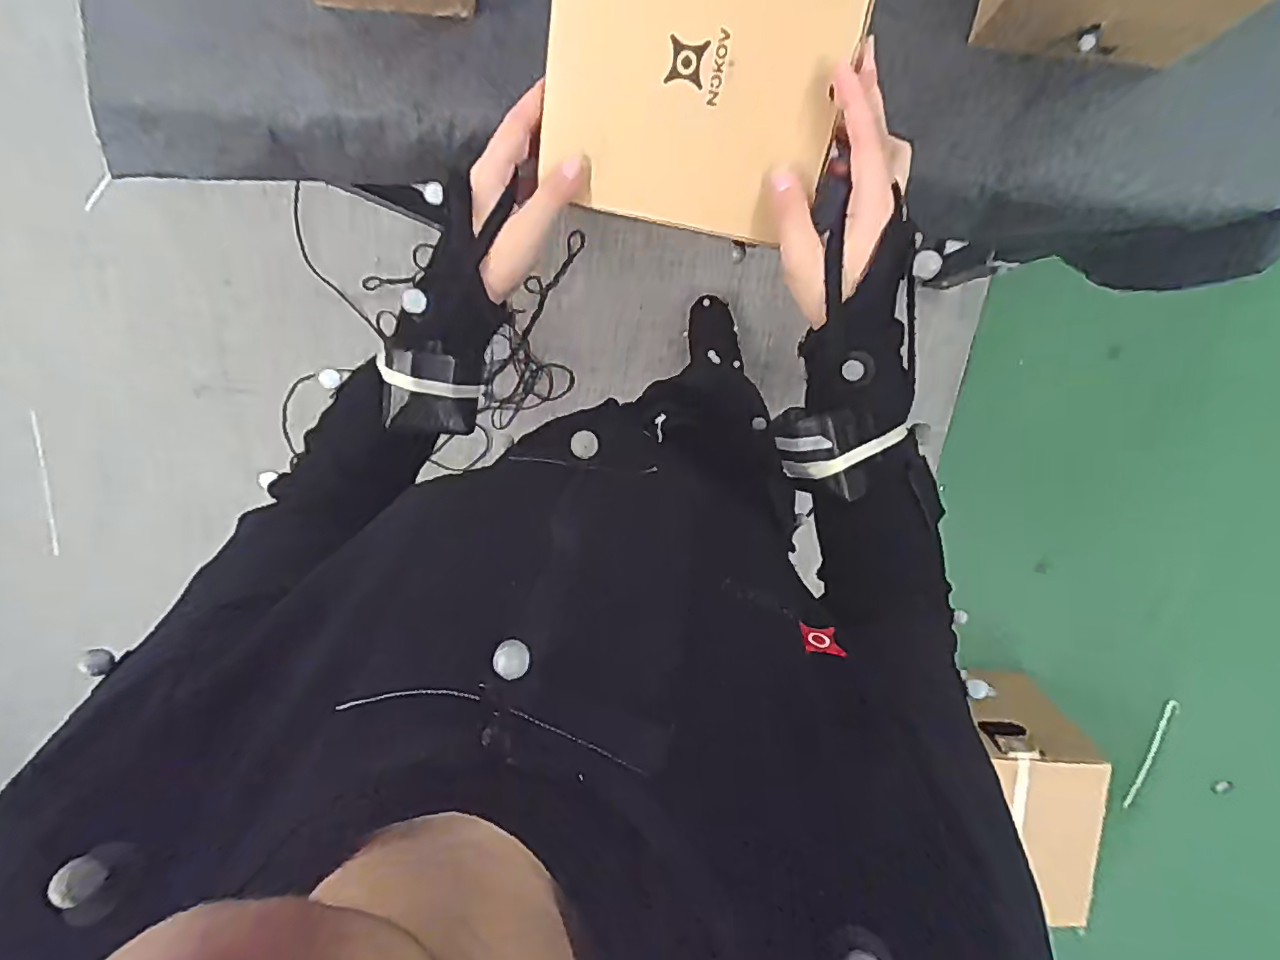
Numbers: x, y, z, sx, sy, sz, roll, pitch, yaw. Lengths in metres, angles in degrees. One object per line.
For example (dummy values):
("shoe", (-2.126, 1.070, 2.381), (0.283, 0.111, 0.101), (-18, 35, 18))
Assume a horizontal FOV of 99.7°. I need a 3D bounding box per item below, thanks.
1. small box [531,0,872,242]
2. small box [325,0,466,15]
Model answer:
("small box", (0.044, -0.267, 0.373), (0.179, 0.176, 0.168), (14, 114, 4))
("small box", (-0.249, -0.526, 0.441), (0.179, 0.176, 0.168), (10, 105, 5))
